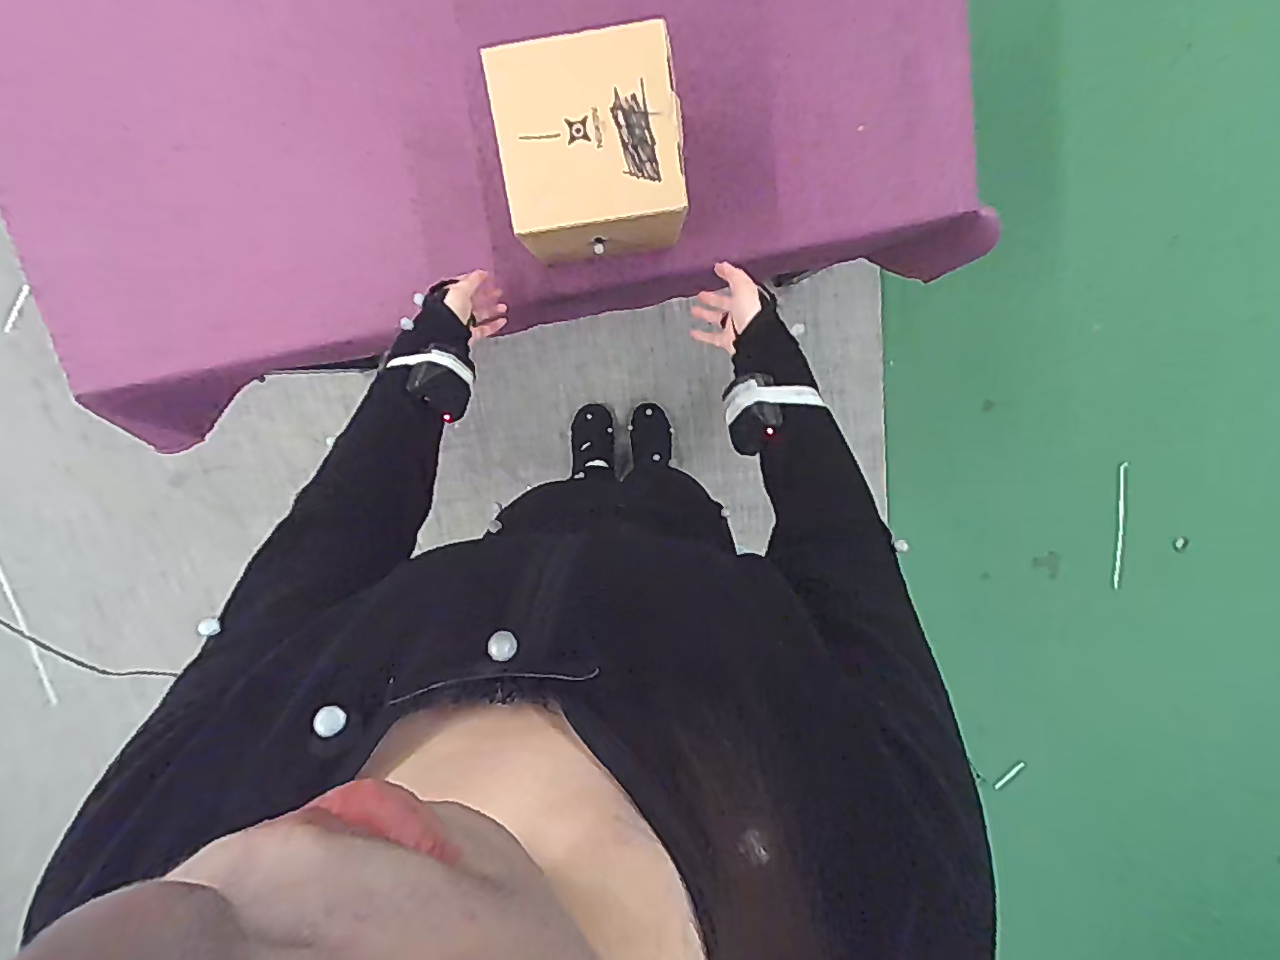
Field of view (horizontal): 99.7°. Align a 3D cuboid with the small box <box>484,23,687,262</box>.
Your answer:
[{"bbox_3d":[-0.050,-0.348,0.592,0.179,0.176,0.168,-8,102,2],"label":"small box"}]
